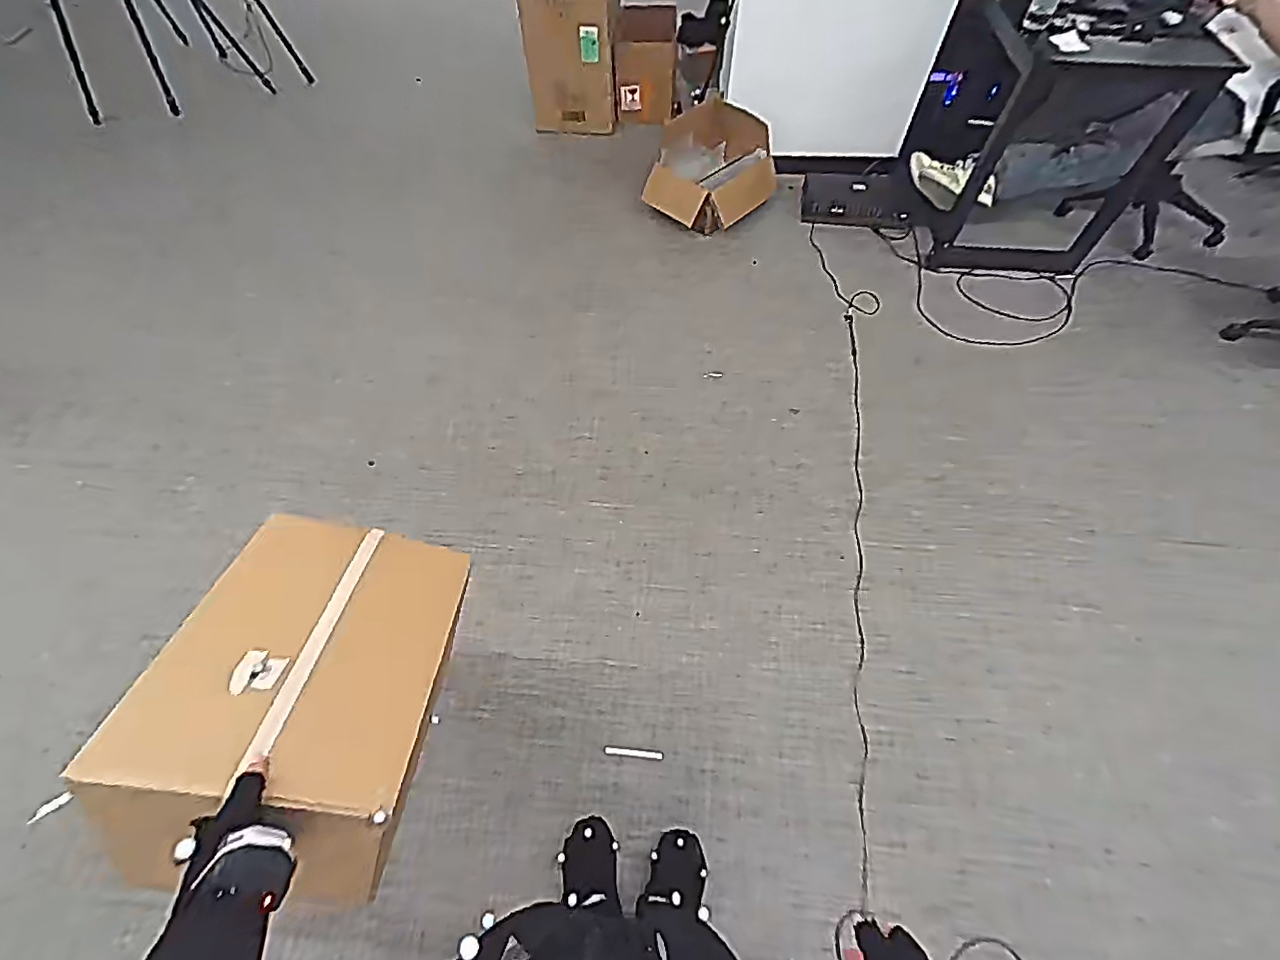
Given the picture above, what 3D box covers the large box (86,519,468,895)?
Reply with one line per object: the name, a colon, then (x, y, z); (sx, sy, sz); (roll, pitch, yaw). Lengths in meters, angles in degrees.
large box: (-0.482, 0.331, 0.820); (0.320, 0.320, 0.408); (16, 36, -13)
